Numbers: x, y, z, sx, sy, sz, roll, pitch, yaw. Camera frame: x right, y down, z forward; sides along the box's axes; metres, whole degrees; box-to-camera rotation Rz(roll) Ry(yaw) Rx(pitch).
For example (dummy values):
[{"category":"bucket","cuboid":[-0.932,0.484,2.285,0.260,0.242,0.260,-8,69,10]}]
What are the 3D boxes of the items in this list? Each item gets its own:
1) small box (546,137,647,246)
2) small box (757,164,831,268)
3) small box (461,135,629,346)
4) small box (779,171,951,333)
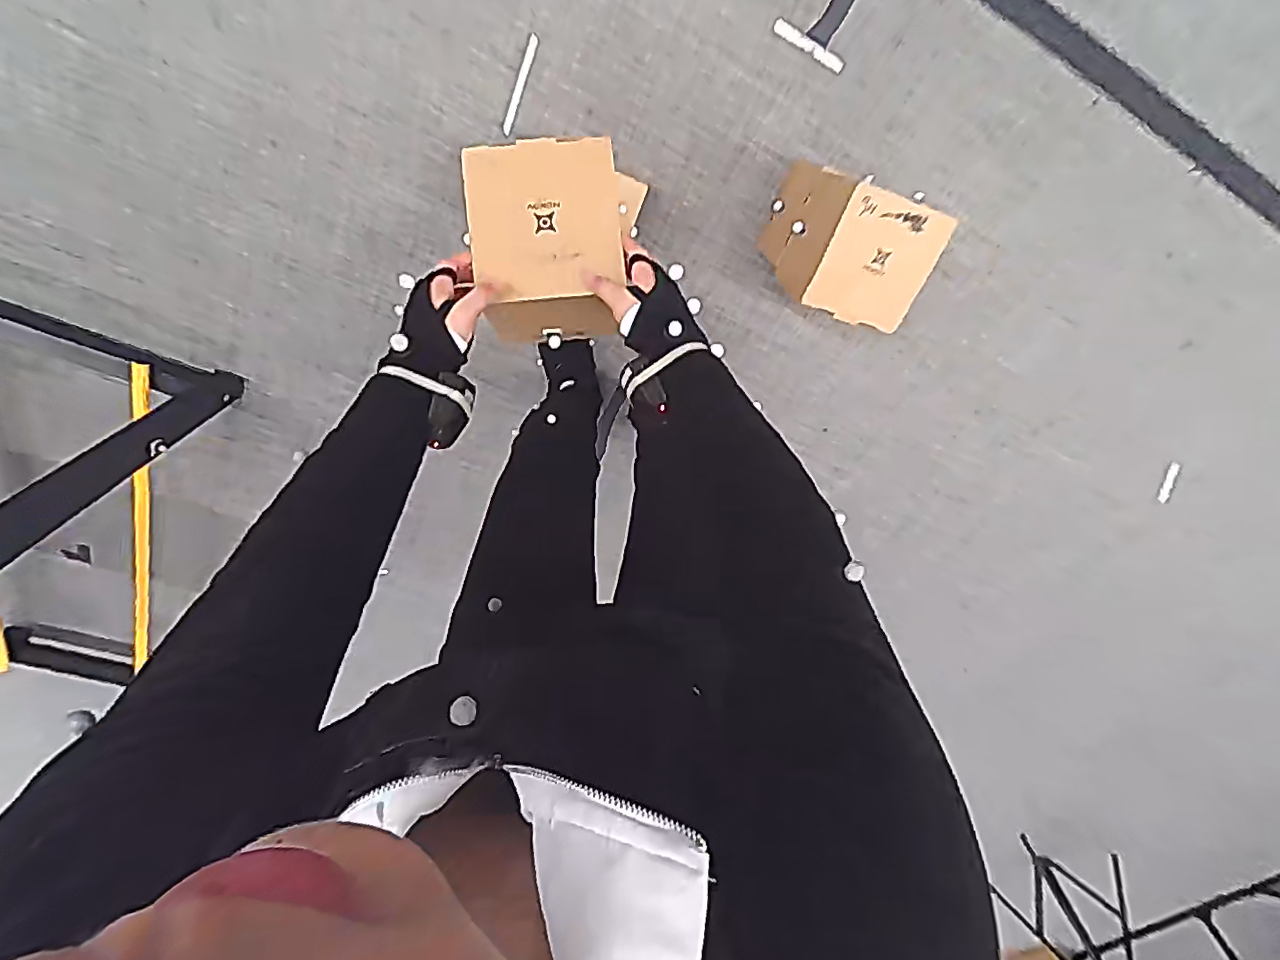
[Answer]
[{"category":"small box","cuboid":[-0.101,-0.484,0.963,0.179,0.176,0.168,19,121,-14]},{"category":"small box","cuboid":[0.340,-0.463,0.994,0.179,0.176,0.168,16,122,-12]},{"category":"small box","cuboid":[-0.107,-0.277,0.655,0.168,0.176,0.179,-7,89,-3]},{"category":"small box","cuboid":[0.339,-0.366,0.861,0.168,0.176,0.179,15,123,-12]}]
